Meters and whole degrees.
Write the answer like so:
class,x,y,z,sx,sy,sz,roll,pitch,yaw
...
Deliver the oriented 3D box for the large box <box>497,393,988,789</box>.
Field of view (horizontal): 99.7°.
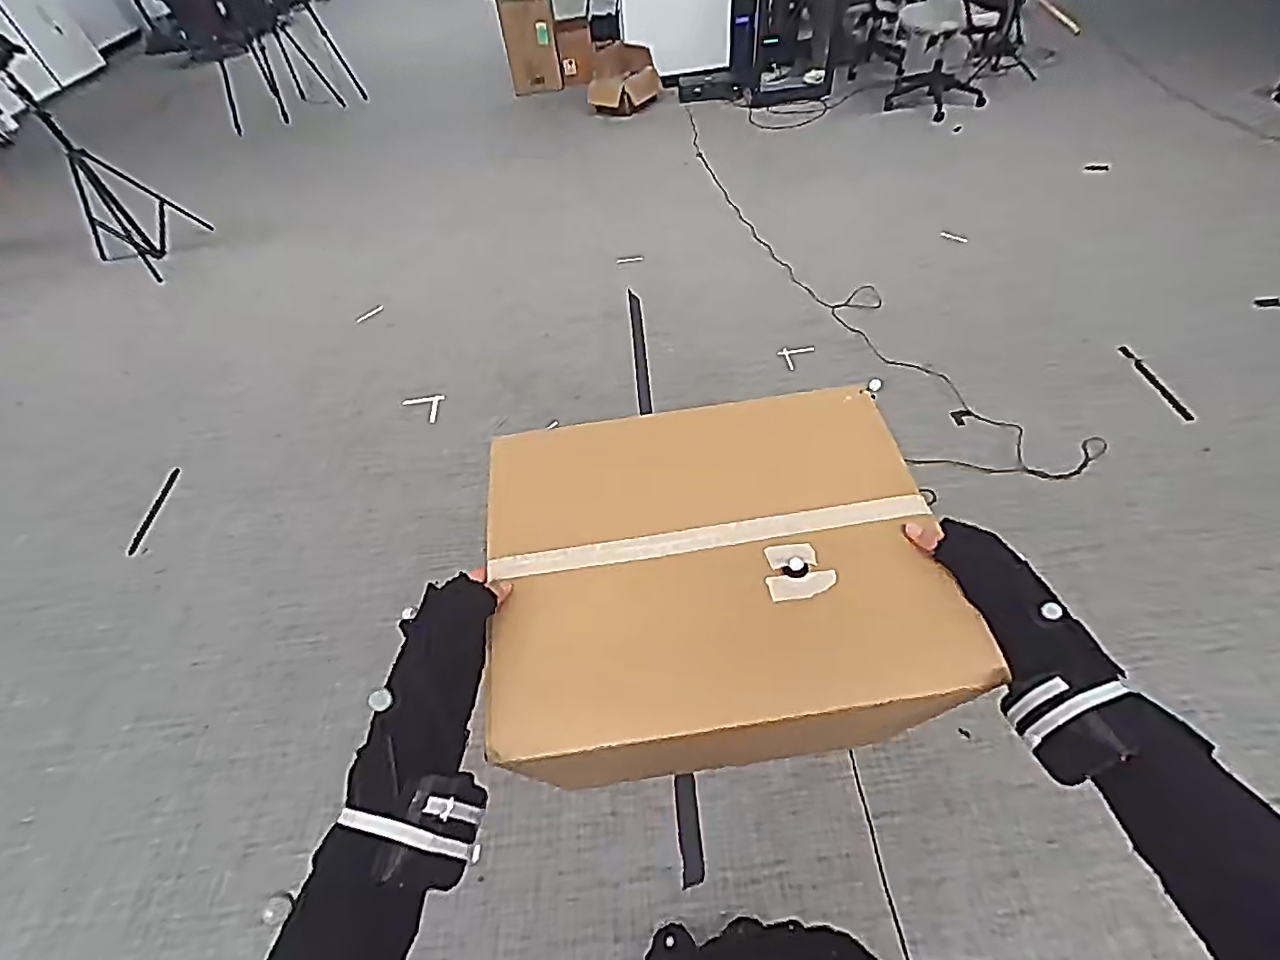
class,x,y,z,sx,sy,sz,roll,pitch,yaw
large box,0.071,0.142,0.629,0.408,0.320,0.320,-9,57,-1
